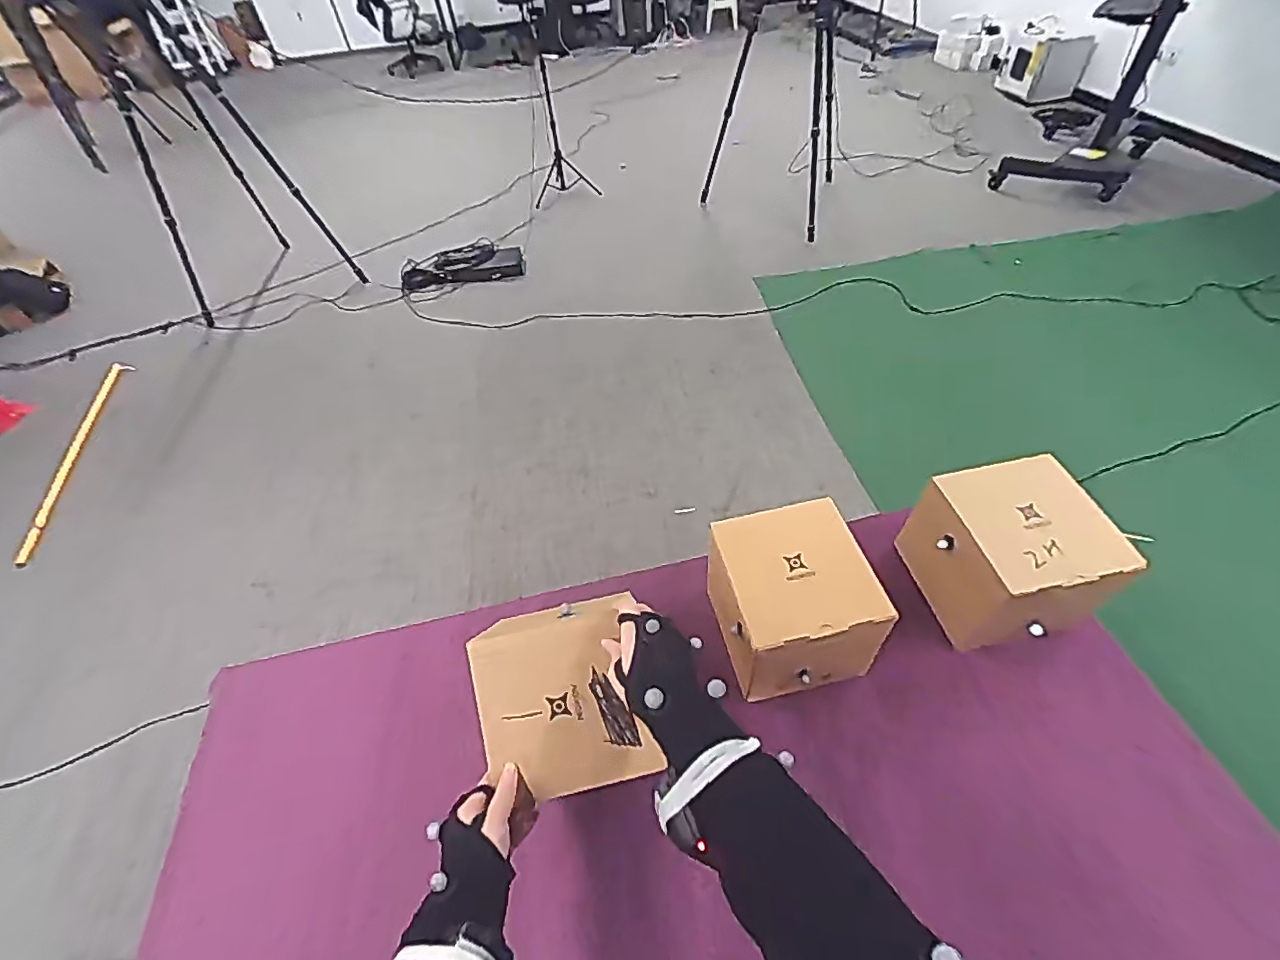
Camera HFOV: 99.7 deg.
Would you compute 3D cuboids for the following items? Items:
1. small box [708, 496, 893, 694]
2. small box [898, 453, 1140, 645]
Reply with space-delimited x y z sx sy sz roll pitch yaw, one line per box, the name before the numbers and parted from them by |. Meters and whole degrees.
small box | 0.189 0.151 0.704 0.168 0.176 0.179 -12 51 -4
small box | 0.472 0.093 0.714 0.168 0.176 0.179 -11 52 -2
